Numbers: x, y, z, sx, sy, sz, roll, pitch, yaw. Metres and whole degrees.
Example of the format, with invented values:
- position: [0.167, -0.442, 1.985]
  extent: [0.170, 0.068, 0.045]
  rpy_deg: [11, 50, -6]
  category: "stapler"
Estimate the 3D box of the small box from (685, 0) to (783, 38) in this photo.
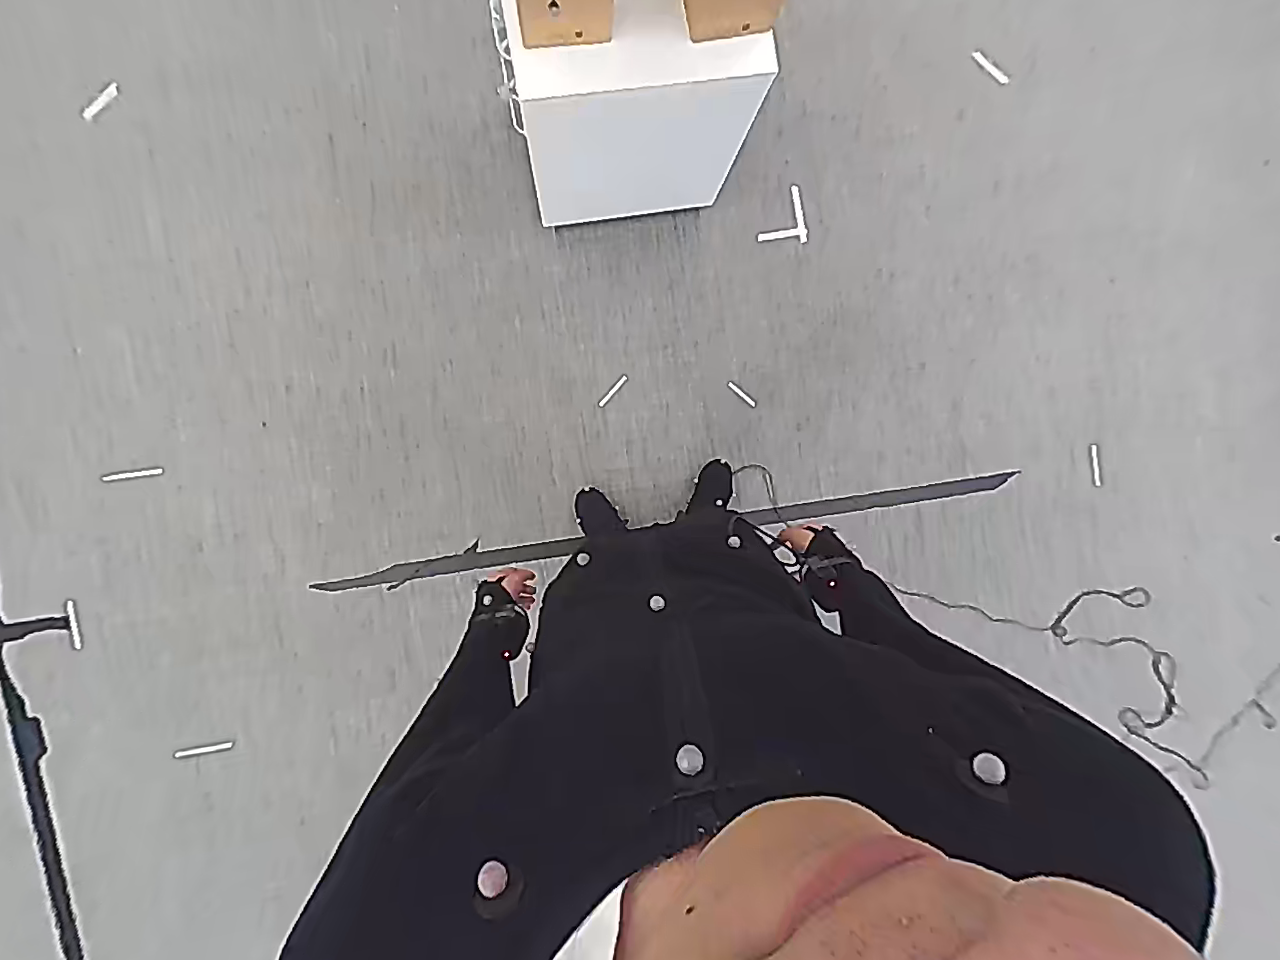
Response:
- position: [0.166, -0.934, 0.948]
  extent: [0.168, 0.176, 0.179]
  rpy_deg: [-12, 93, -4]
  category: "small box"

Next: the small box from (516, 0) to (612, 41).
- position: [-0.138, -0.894, 0.923]
  extent: [0.168, 0.176, 0.179]
  rpy_deg: [-9, 92, -6]
  category: "small box"
